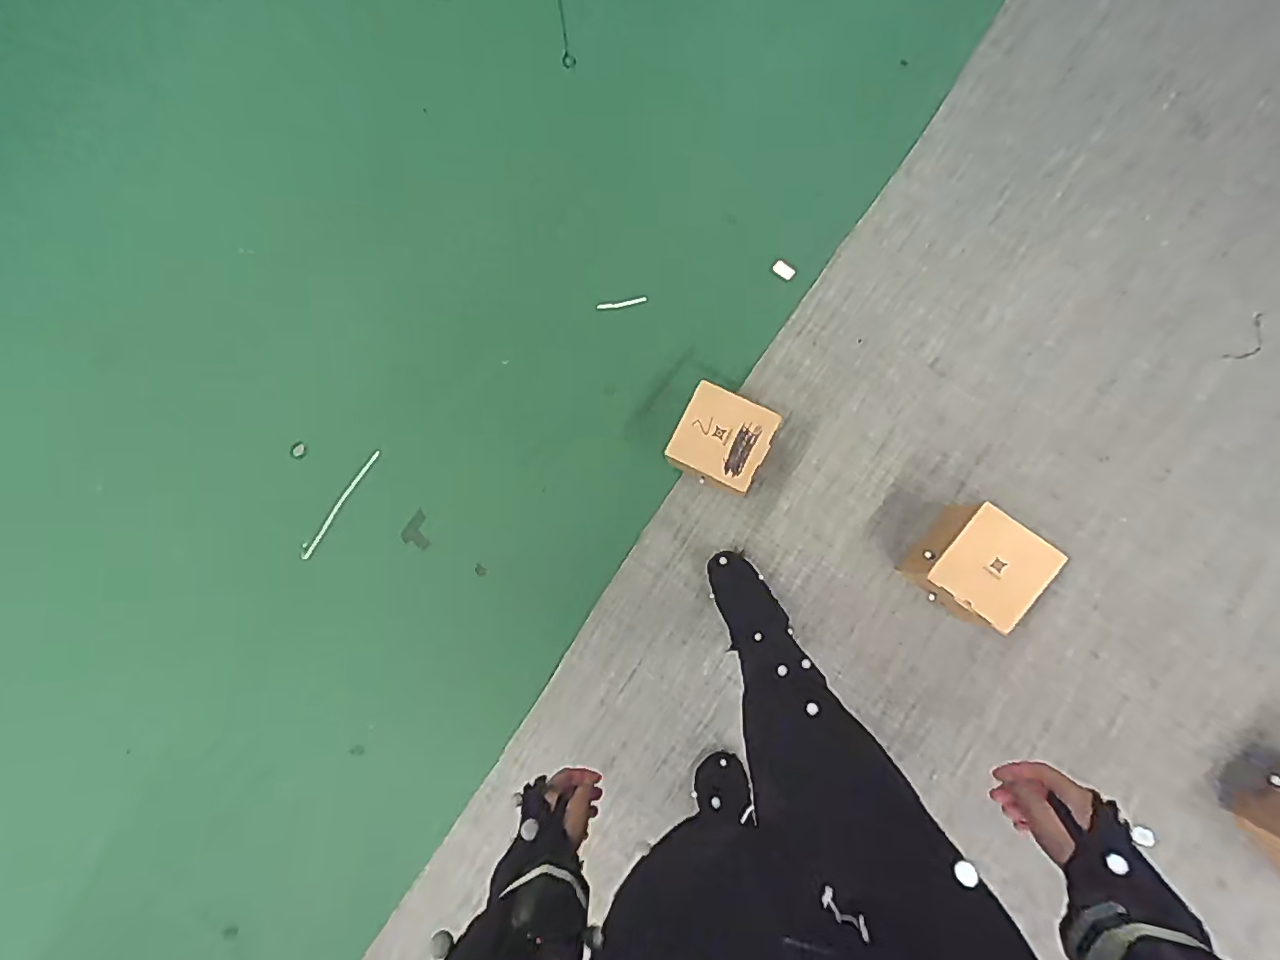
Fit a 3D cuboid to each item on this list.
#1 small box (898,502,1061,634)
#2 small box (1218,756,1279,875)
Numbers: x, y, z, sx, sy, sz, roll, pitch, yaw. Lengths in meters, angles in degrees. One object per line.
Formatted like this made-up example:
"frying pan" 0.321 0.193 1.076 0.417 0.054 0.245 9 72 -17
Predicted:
"small box" 0.631 0.160 1.033 0.168 0.176 0.179 38 91 9
"small box" 1.178 0.614 0.916 0.168 0.176 0.179 -40 80 1
